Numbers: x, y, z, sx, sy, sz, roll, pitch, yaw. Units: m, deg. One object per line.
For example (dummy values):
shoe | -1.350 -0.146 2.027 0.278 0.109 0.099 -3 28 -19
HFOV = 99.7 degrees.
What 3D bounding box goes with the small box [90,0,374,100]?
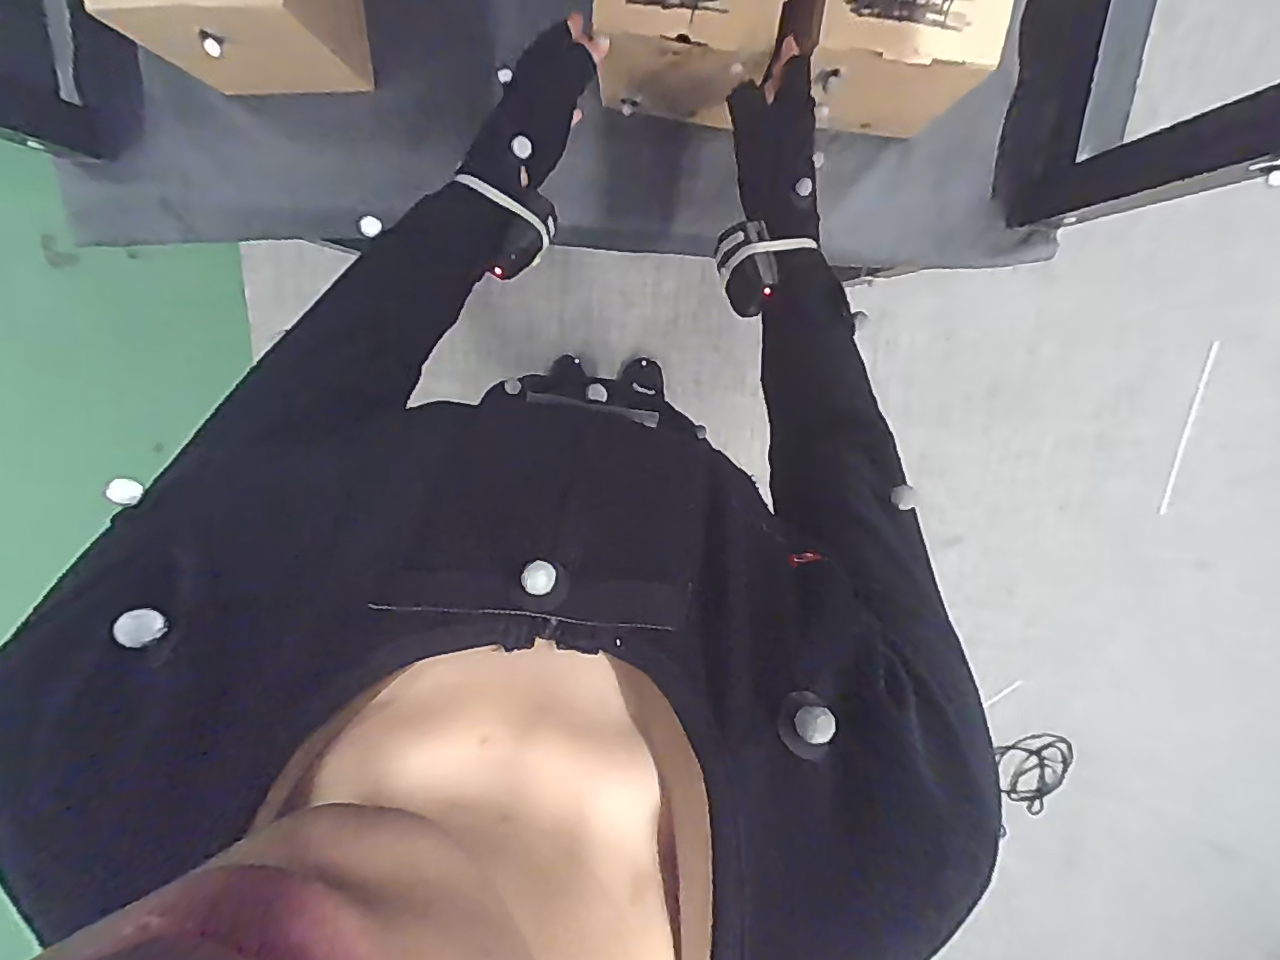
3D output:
small box | -0.396 -0.503 0.536 0.179 0.176 0.168 -1 105 -1
